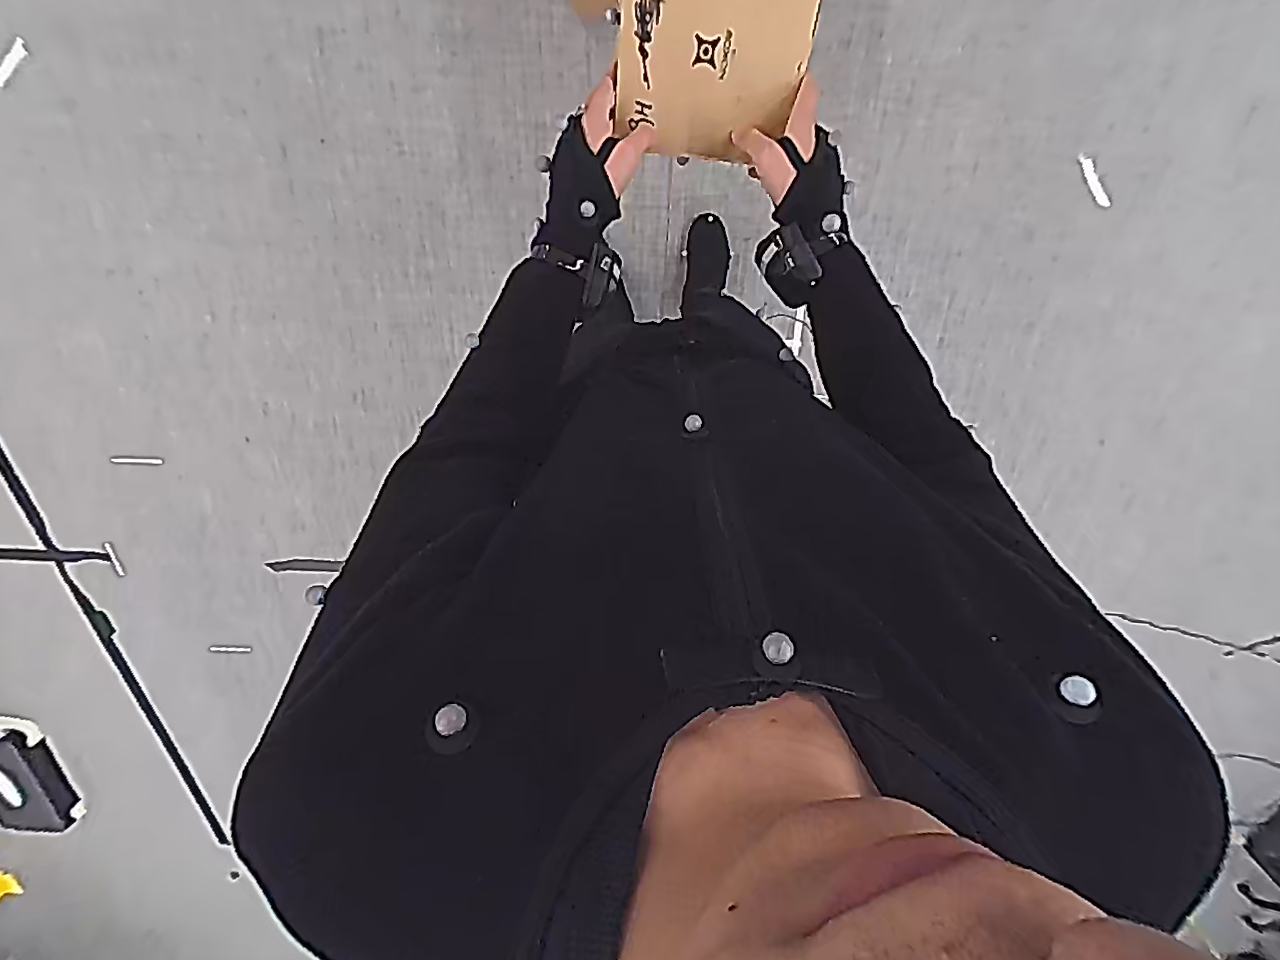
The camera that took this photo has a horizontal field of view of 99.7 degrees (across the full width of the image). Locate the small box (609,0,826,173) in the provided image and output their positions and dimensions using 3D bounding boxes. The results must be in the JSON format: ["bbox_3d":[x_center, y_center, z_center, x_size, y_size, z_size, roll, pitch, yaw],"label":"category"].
[{"bbox_3d":[0.063,-0.427,0.550,0.179,0.176,0.168,3,126,-7],"label":"small box"}]
